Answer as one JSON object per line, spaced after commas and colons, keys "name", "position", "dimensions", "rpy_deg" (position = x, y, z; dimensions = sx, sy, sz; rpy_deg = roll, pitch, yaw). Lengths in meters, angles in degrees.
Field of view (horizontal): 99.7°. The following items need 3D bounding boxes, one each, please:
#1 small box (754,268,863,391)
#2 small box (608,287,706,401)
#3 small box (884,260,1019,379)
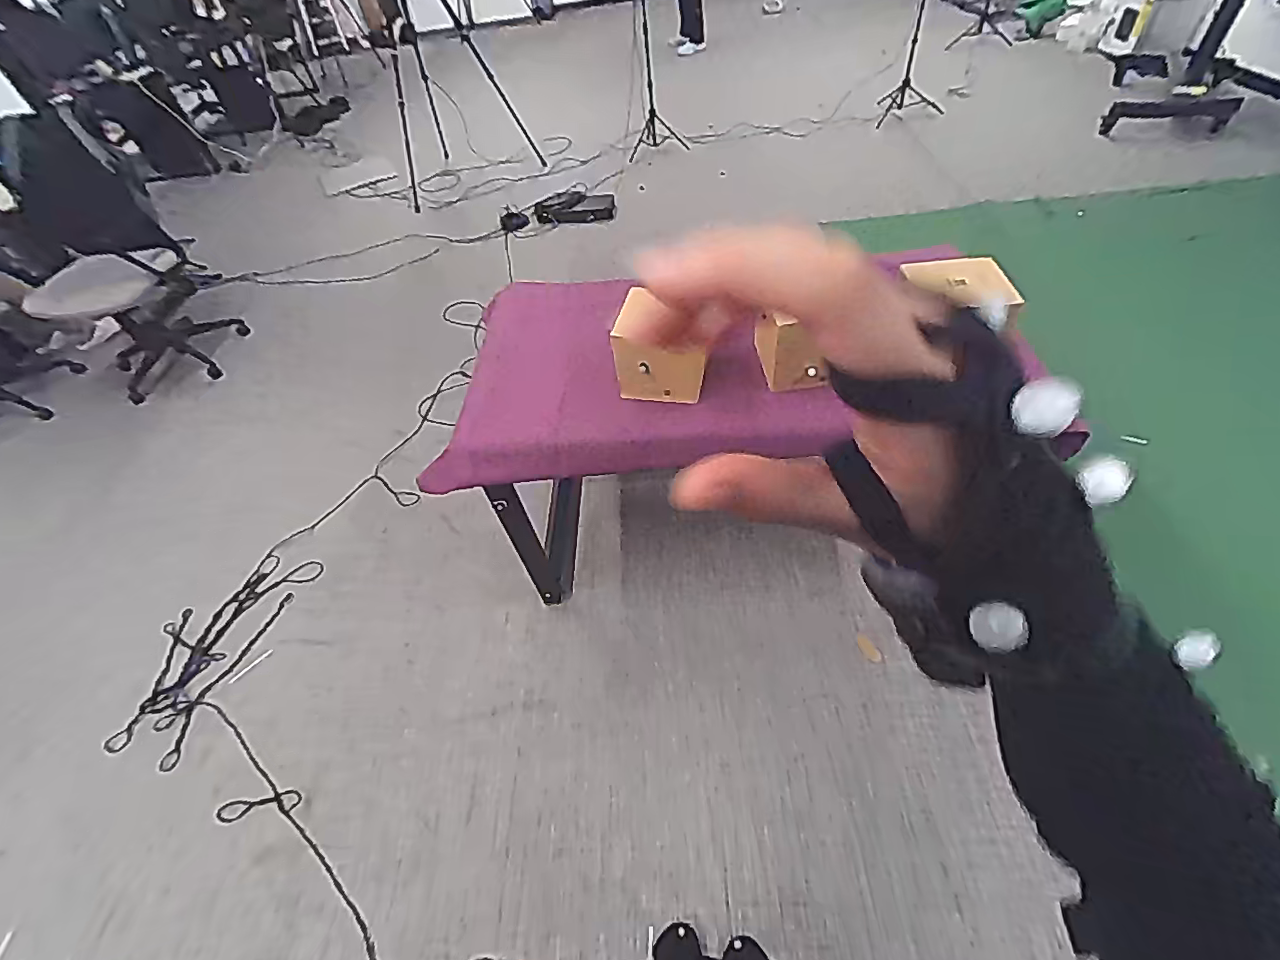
{"name": "small box", "position": [0.334, -0.308, 1.112], "dimensions": [0.168, 0.176, 0.179], "rpy_deg": [-7, 50, 2]}
{"name": "small box", "position": [0.045, -0.283, 1.133], "dimensions": [0.168, 0.176, 0.179], "rpy_deg": [6, 51, 13]}
{"name": "small box", "position": [0.603, -0.315, 1.081], "dimensions": [0.179, 0.176, 0.168], "rpy_deg": [-1, 49, 7]}
